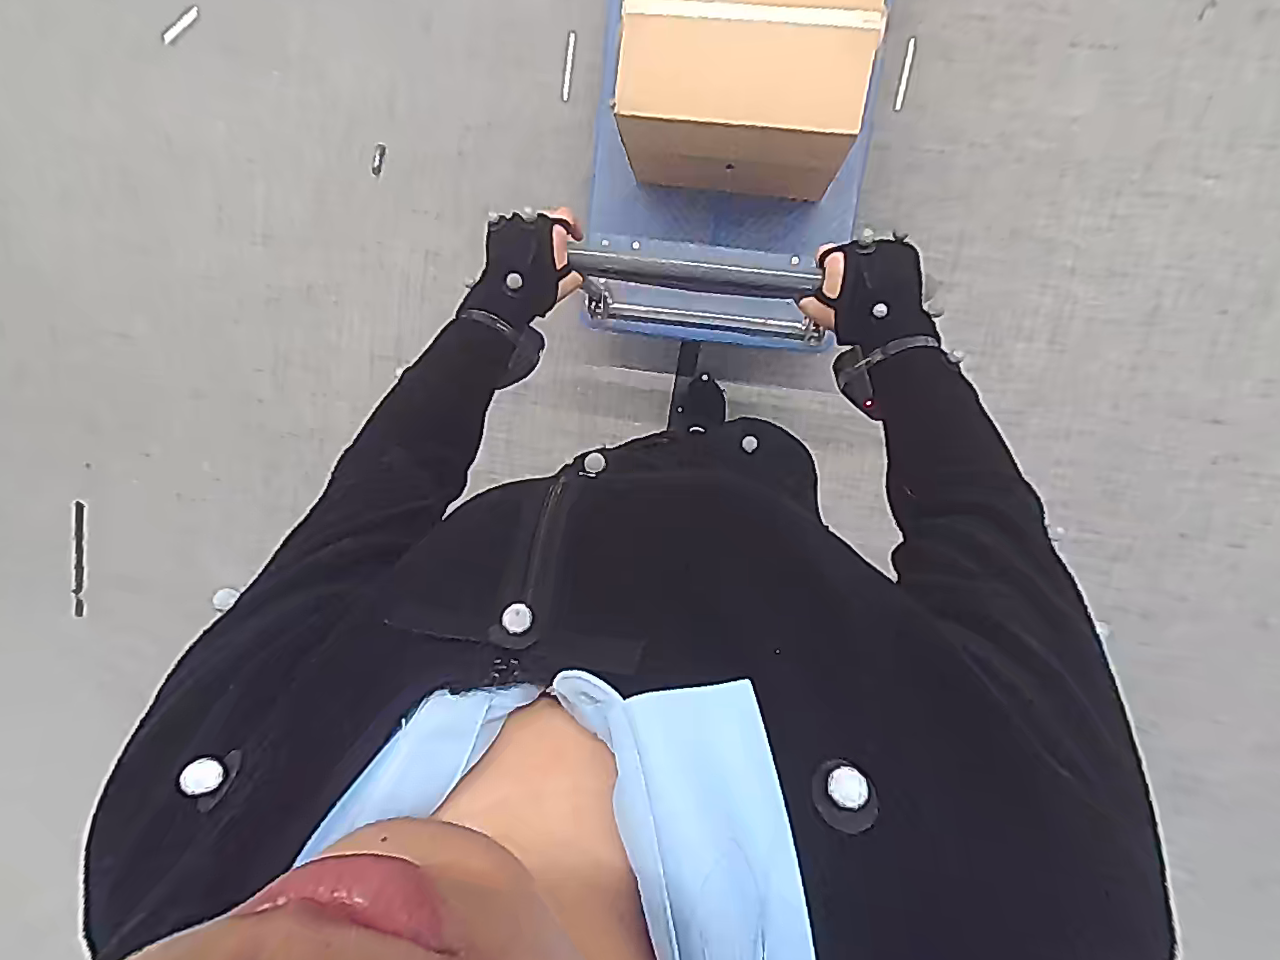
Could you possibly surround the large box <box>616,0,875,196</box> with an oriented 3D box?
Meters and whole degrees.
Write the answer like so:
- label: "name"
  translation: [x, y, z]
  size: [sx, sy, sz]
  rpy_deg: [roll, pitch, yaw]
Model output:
- label: "large box"
  translation: [0.192, -0.761, 1.024]
  size: [0.408, 0.320, 0.320]
  rpy_deg: [9, 99, 7]
